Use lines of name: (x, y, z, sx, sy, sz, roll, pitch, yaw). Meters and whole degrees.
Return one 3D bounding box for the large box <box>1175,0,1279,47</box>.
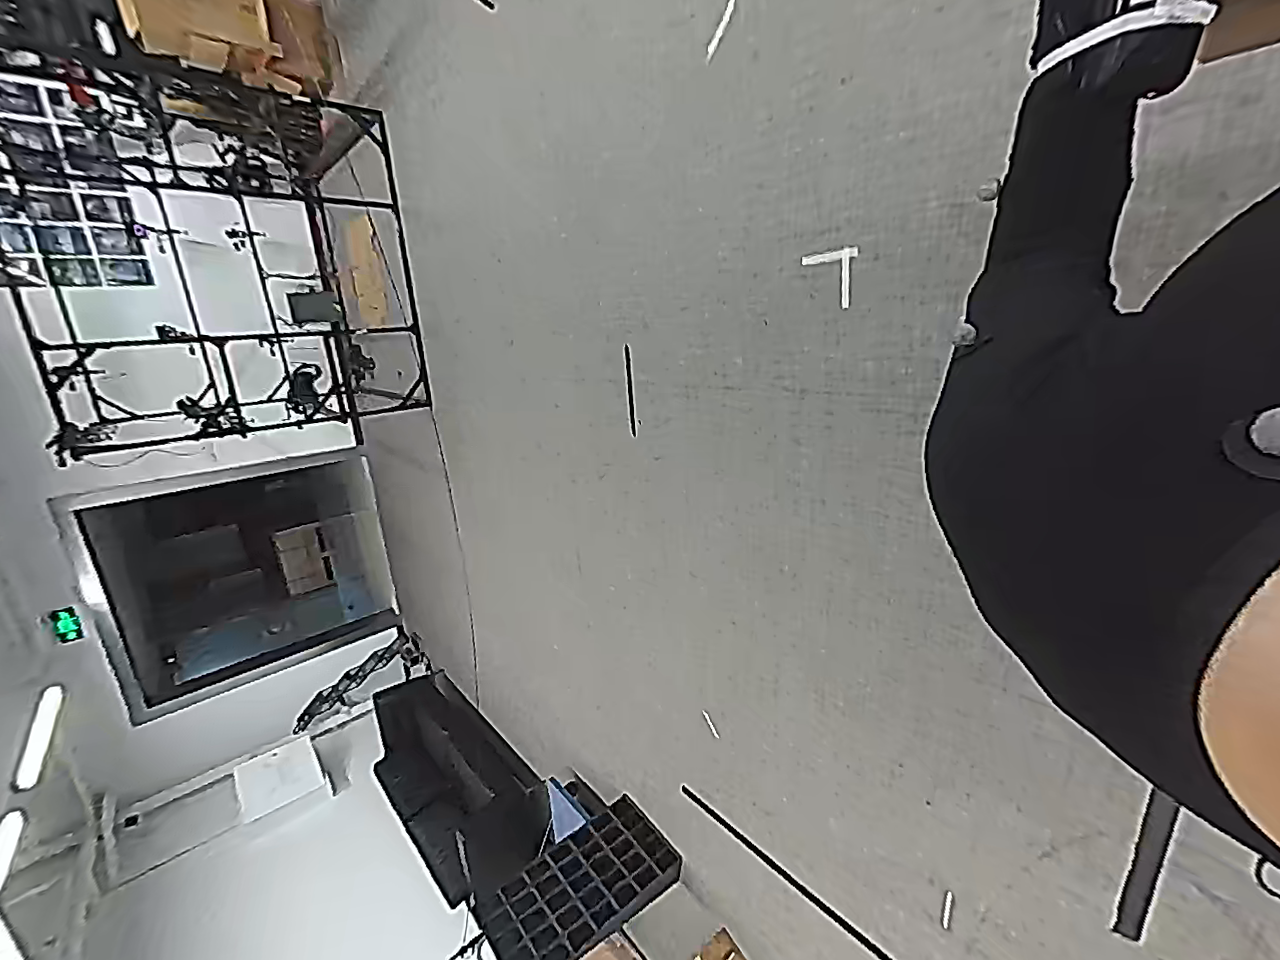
large box: (0.558, -0.493, 0.258, 0.408, 0.320, 0.320, 11, 120, 47)
